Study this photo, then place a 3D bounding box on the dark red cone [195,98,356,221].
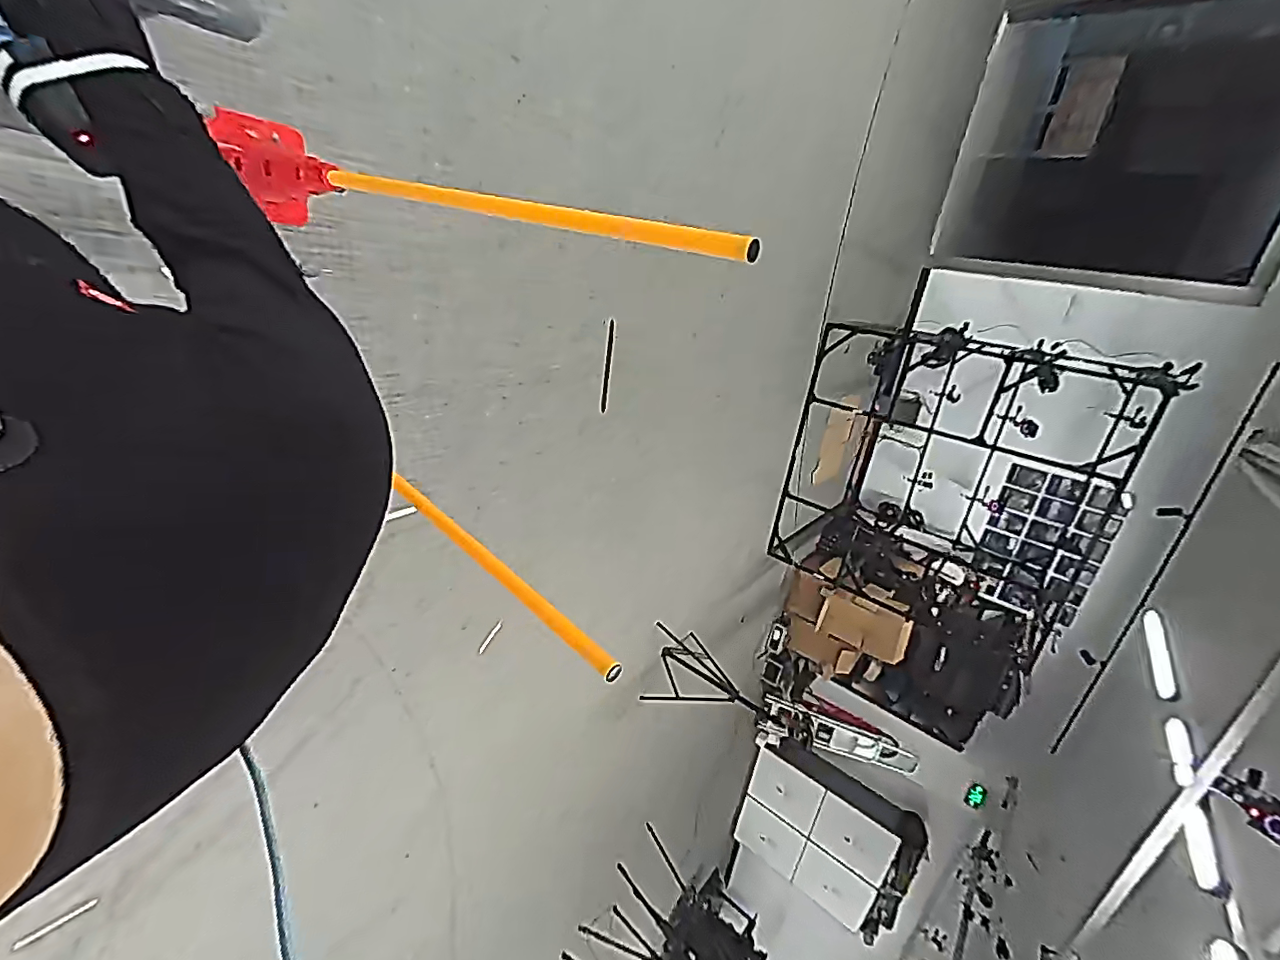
[{"bbox_3d":[-0.675,-0.614,1.055,0.201,0.394,0.202,-20,126,-51],"label":"dark red cone"}]
